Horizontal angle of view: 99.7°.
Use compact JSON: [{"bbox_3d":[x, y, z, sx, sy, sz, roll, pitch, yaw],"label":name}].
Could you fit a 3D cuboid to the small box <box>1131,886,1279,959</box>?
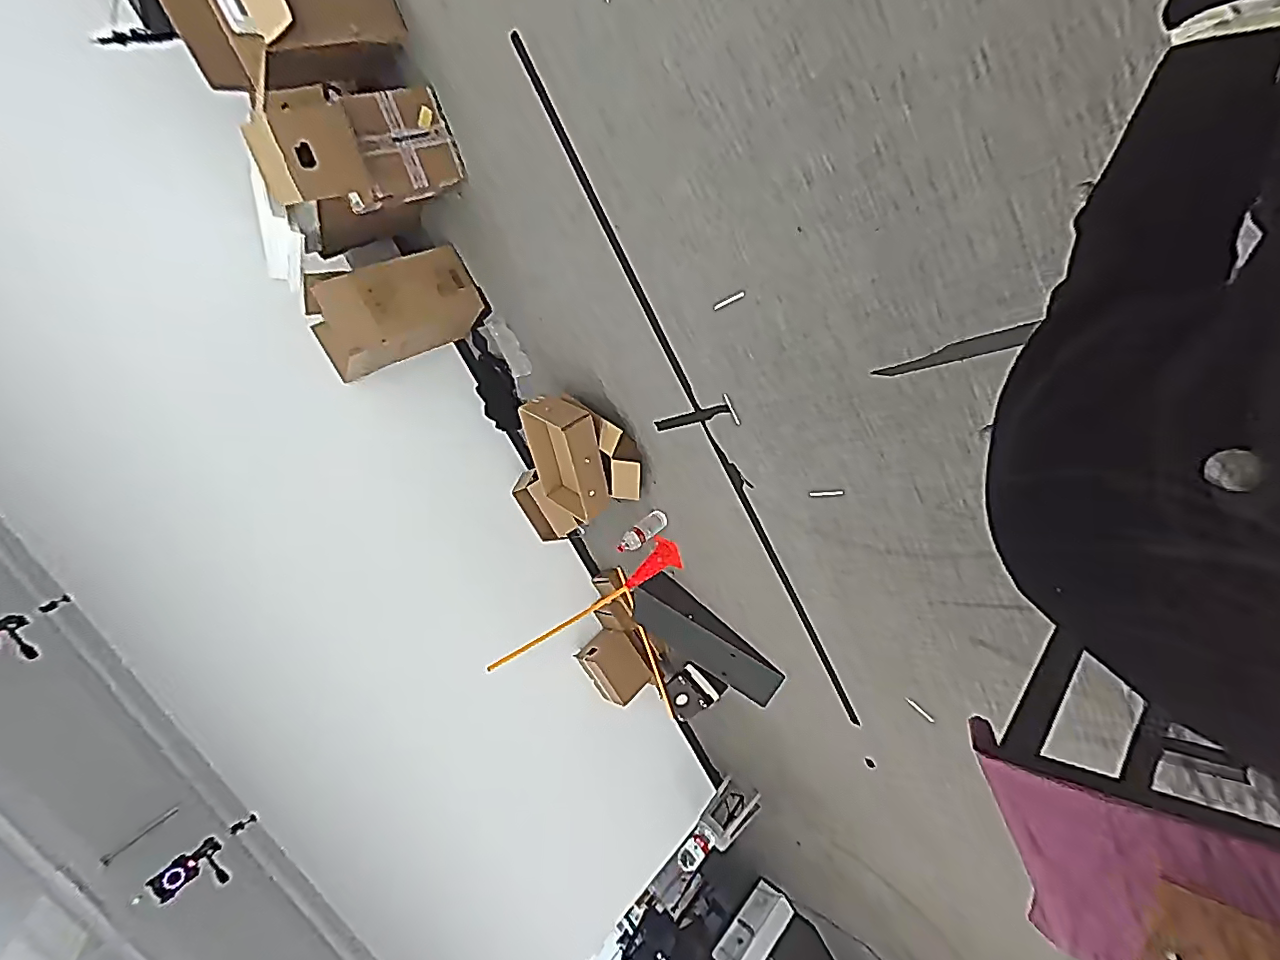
[{"bbox_3d":[0.930,0.801,0.859,0.179,0.176,0.168,-5,117,56],"label":"small box"}]
